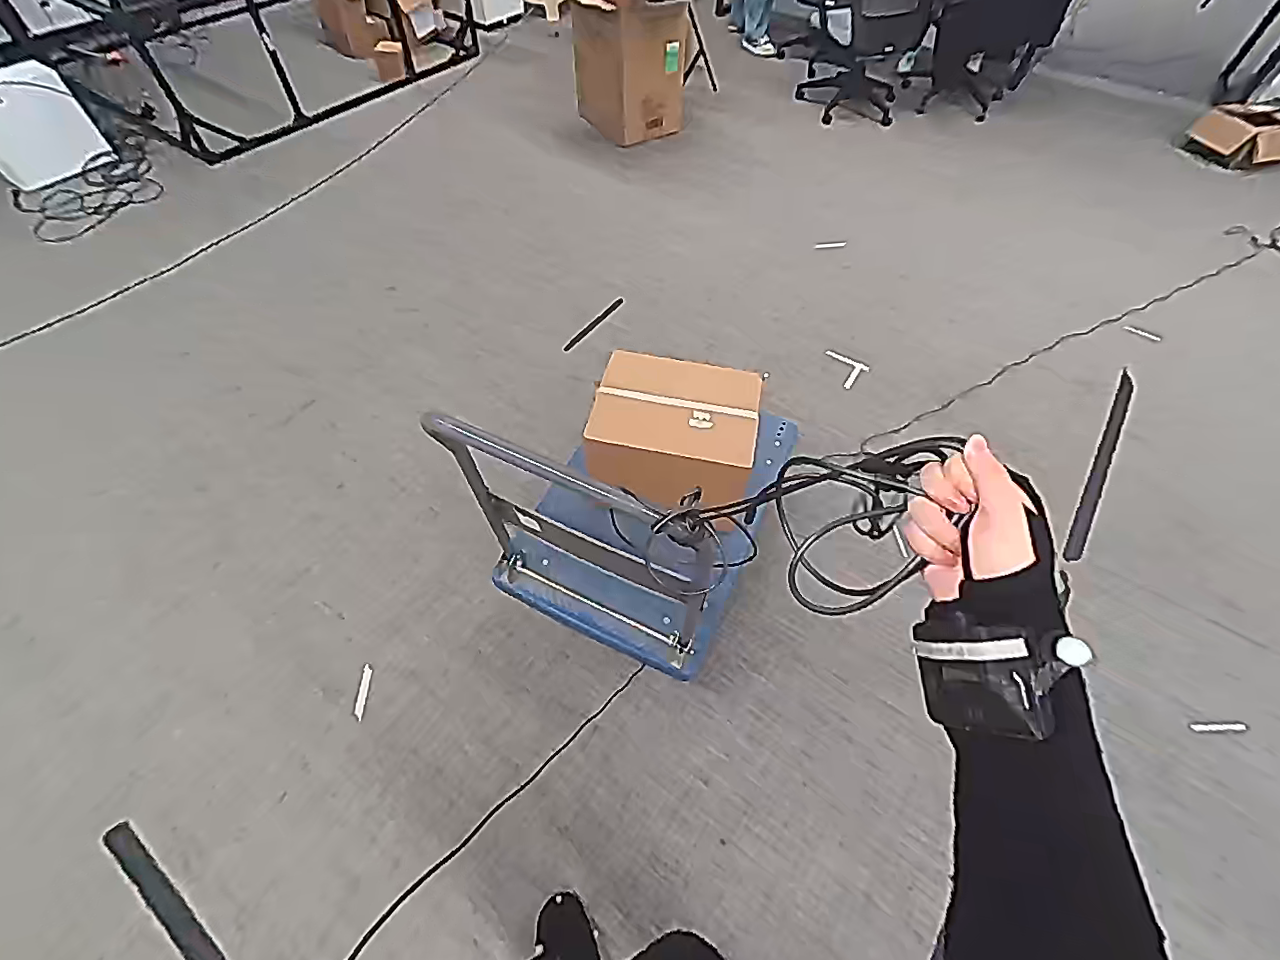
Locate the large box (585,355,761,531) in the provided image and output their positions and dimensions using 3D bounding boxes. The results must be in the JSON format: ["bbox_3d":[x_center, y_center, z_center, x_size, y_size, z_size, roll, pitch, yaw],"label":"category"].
[{"bbox_3d":[0.086,-0.095,1.460,0.408,0.320,0.320,11,56,6],"label":"large box"}]
